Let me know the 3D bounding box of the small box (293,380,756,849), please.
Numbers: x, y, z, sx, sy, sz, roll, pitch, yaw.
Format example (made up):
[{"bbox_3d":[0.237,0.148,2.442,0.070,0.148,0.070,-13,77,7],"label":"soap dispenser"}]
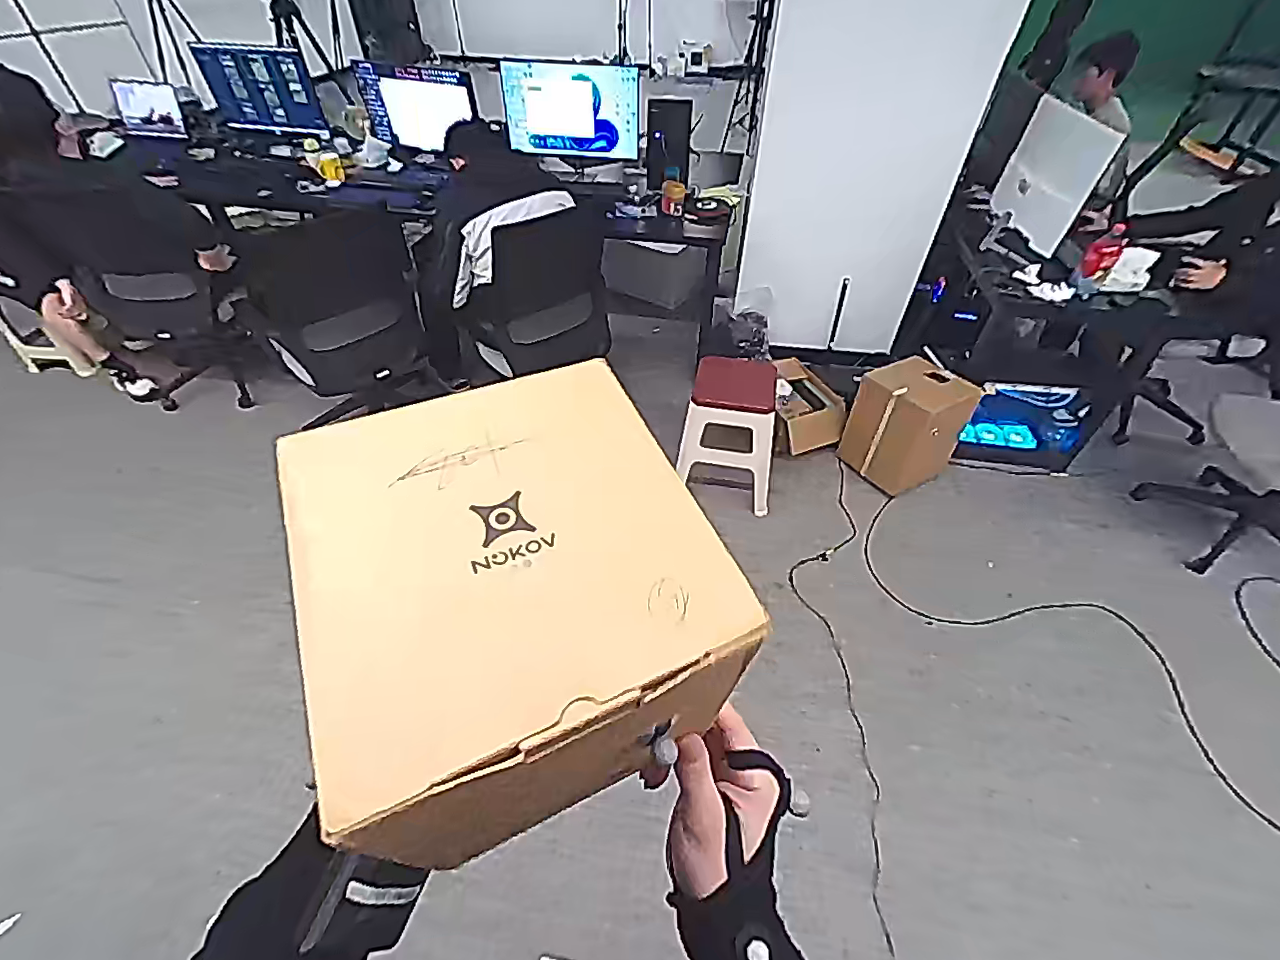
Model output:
[{"bbox_3d":[-0.064,0.078,0.307,0.168,0.176,0.179,-20,54,-21],"label":"small box"}]
